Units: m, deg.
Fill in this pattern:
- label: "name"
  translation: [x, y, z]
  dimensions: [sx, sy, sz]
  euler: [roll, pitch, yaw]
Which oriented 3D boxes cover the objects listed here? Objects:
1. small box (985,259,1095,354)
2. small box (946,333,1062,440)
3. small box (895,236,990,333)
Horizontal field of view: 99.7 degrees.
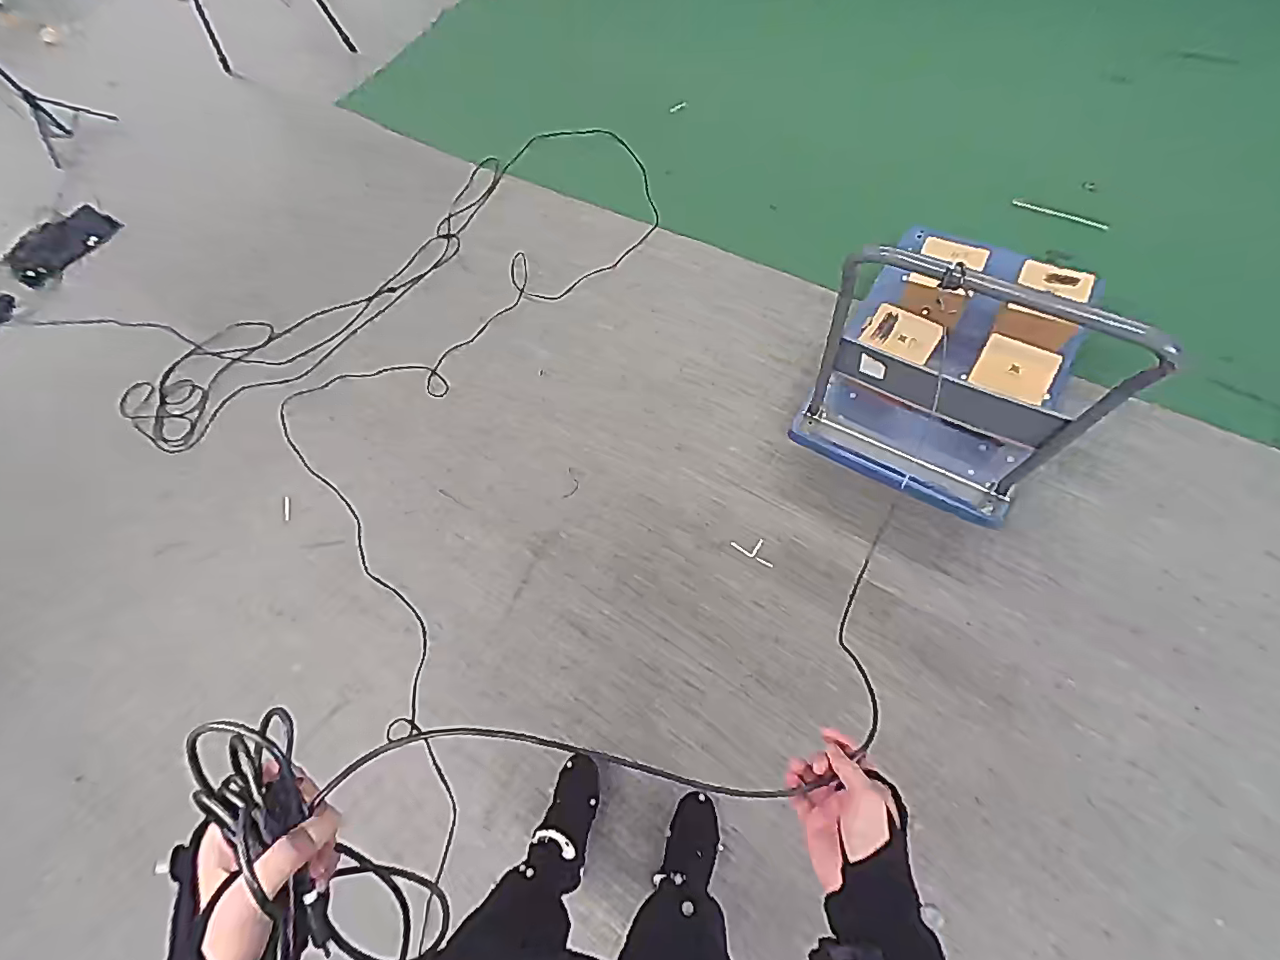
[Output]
- label: "small box"
  translation: [1.063, -0.449, 1.451]
  dimensions: [0.168, 0.176, 0.179]
  euler: [25, 73, 19]
- label: "small box"
  translation: [0.916, -0.234, 1.379]
  dimensions: [0.168, 0.176, 0.179]
  euler: [30, 75, 20]
- label: "small box"
  translation: [0.846, -0.548, 1.532]
  dimensions: [0.168, 0.176, 0.179]
  euler: [25, 72, 18]
